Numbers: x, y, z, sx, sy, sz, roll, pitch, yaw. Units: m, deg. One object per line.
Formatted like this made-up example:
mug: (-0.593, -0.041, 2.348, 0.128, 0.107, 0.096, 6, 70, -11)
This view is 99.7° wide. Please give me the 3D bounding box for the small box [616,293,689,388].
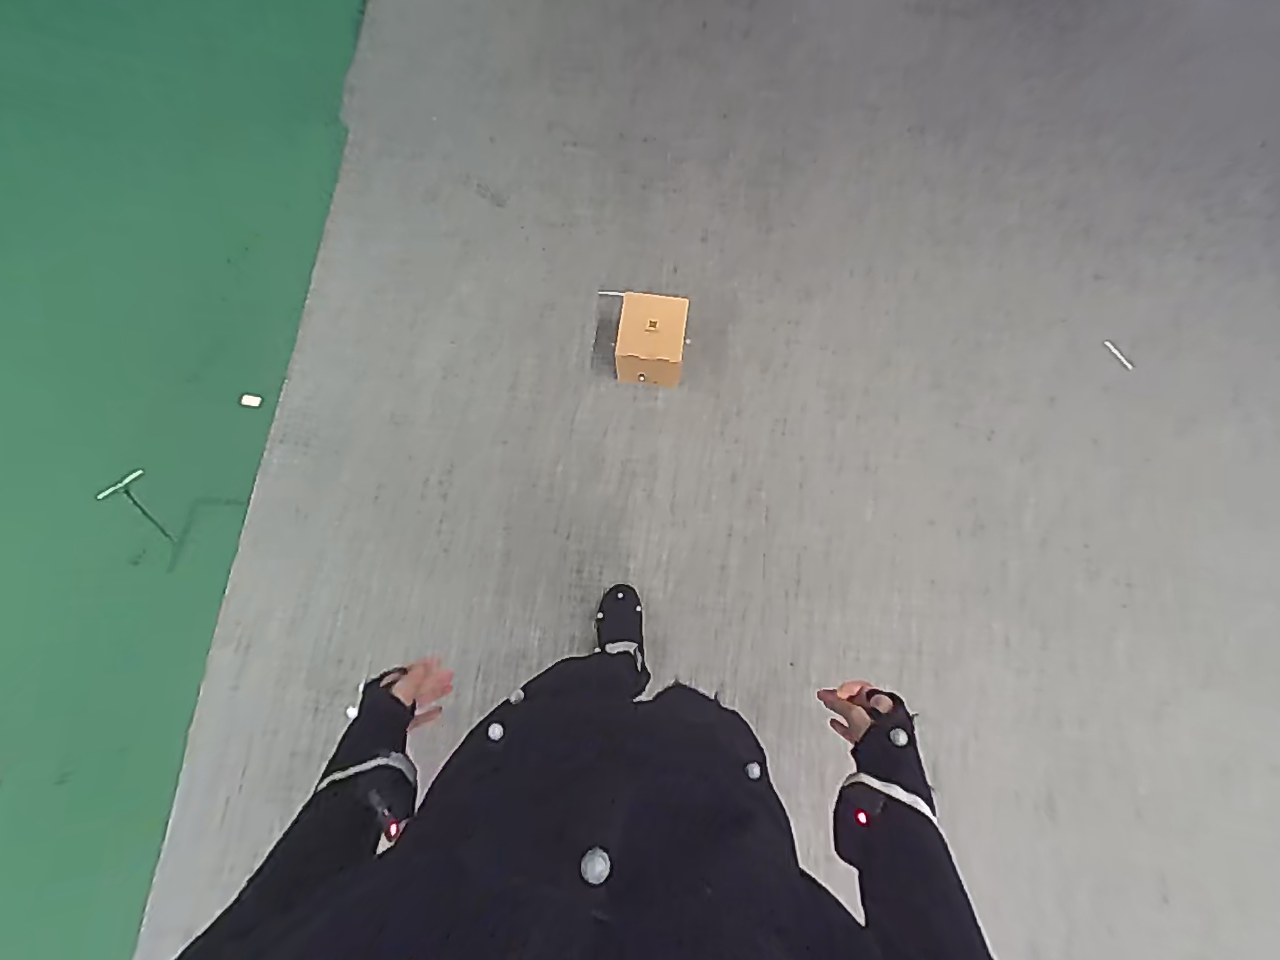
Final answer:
small box: (0.030, -0.360, 1.420, 0.168, 0.176, 0.179, 7, 78, 2)
